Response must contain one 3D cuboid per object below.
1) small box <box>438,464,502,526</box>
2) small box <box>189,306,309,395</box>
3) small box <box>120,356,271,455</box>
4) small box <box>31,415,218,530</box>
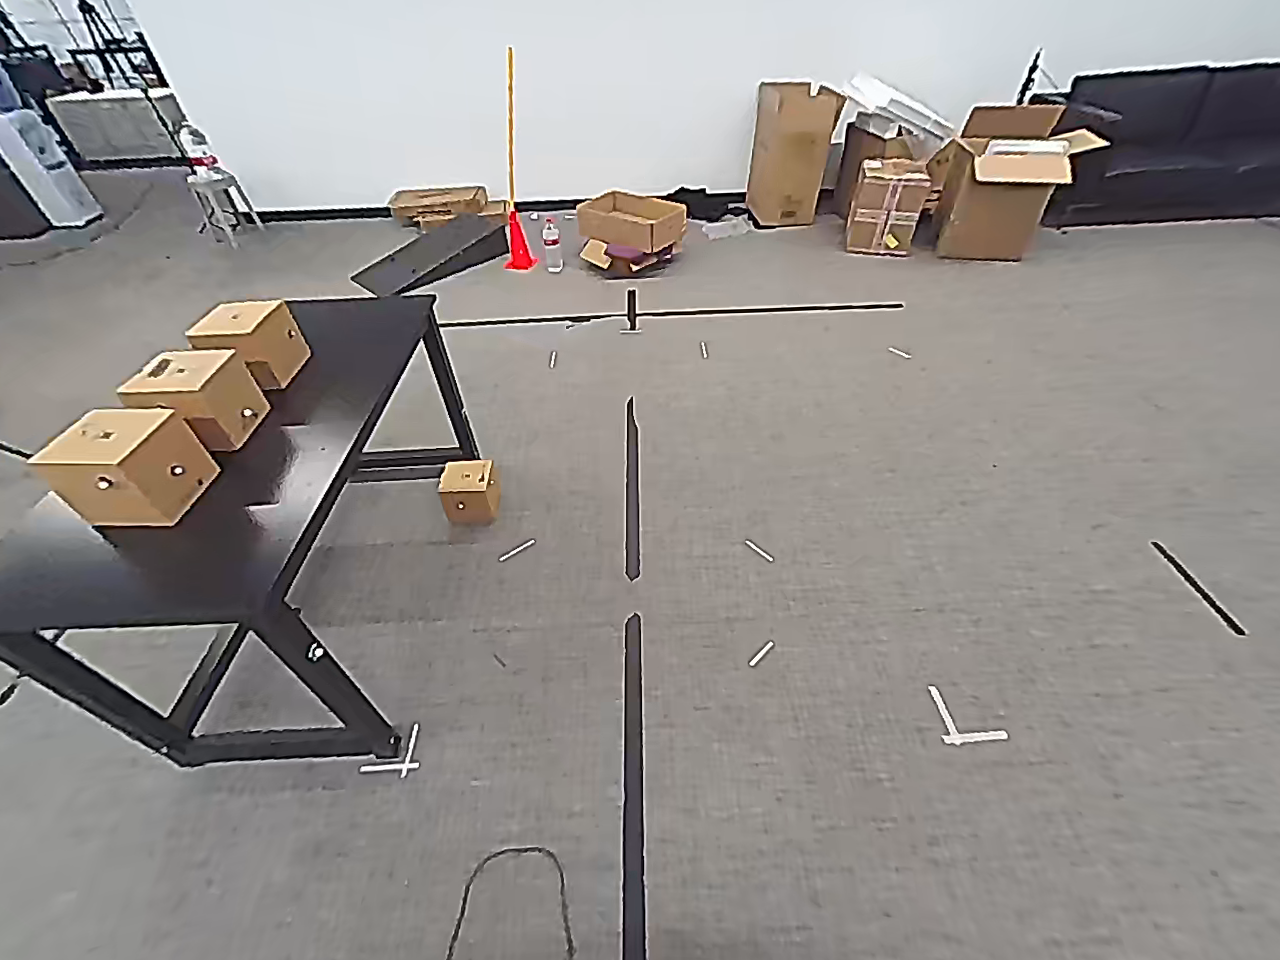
[{"bbox_3d":[-0.638,0.060,2.043,0.179,0.176,0.168,-3,44,0],"label":"small box"},{"bbox_3d":[-1.014,-0.338,1.426,0.168,0.176,0.179,-4,44,1],"label":"small box"},{"bbox_3d":[-1.007,-0.168,1.244,0.179,0.176,0.168,-2,43,-1],"label":"small box"},{"bbox_3d":[-1.008,-0.014,1.082,0.179,0.176,0.168,0,43,3],"label":"small box"}]
